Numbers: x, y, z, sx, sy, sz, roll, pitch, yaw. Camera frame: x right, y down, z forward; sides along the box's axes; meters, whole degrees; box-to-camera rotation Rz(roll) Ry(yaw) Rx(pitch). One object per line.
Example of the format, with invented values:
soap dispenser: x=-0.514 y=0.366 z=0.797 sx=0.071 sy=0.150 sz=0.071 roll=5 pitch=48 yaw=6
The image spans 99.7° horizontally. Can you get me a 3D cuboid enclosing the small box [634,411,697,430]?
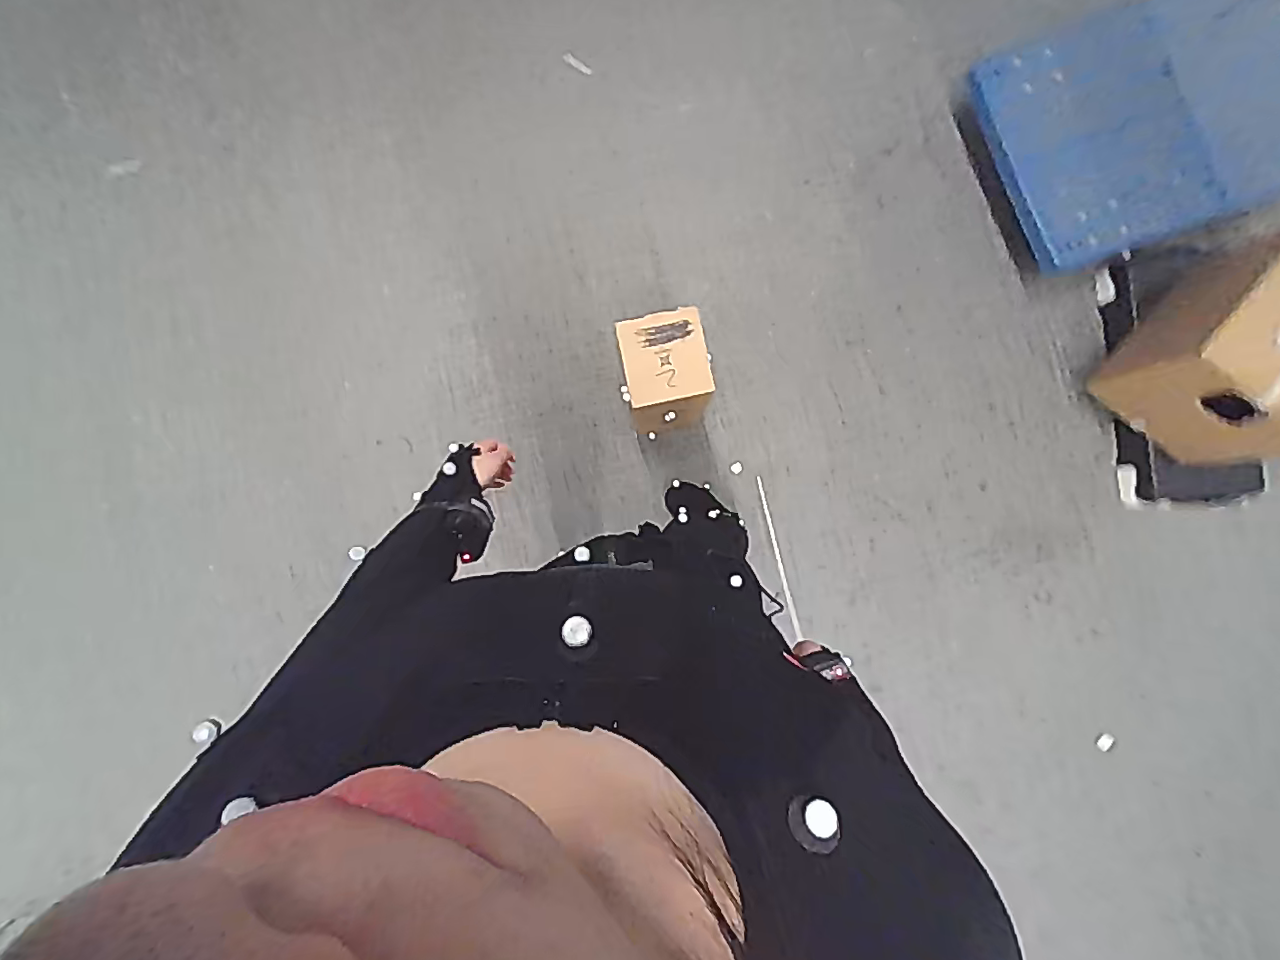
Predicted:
small box: x=0.055 y=-0.236 z=1.447 sx=0.168 sy=0.176 sz=0.179 roll=-12 pitch=87 yaw=1

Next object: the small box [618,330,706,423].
small box: x=0.052 y=-0.237 z=1.282 sx=0.179 sy=0.176 sz=0.168 roll=-11 pitch=88 yaw=1
